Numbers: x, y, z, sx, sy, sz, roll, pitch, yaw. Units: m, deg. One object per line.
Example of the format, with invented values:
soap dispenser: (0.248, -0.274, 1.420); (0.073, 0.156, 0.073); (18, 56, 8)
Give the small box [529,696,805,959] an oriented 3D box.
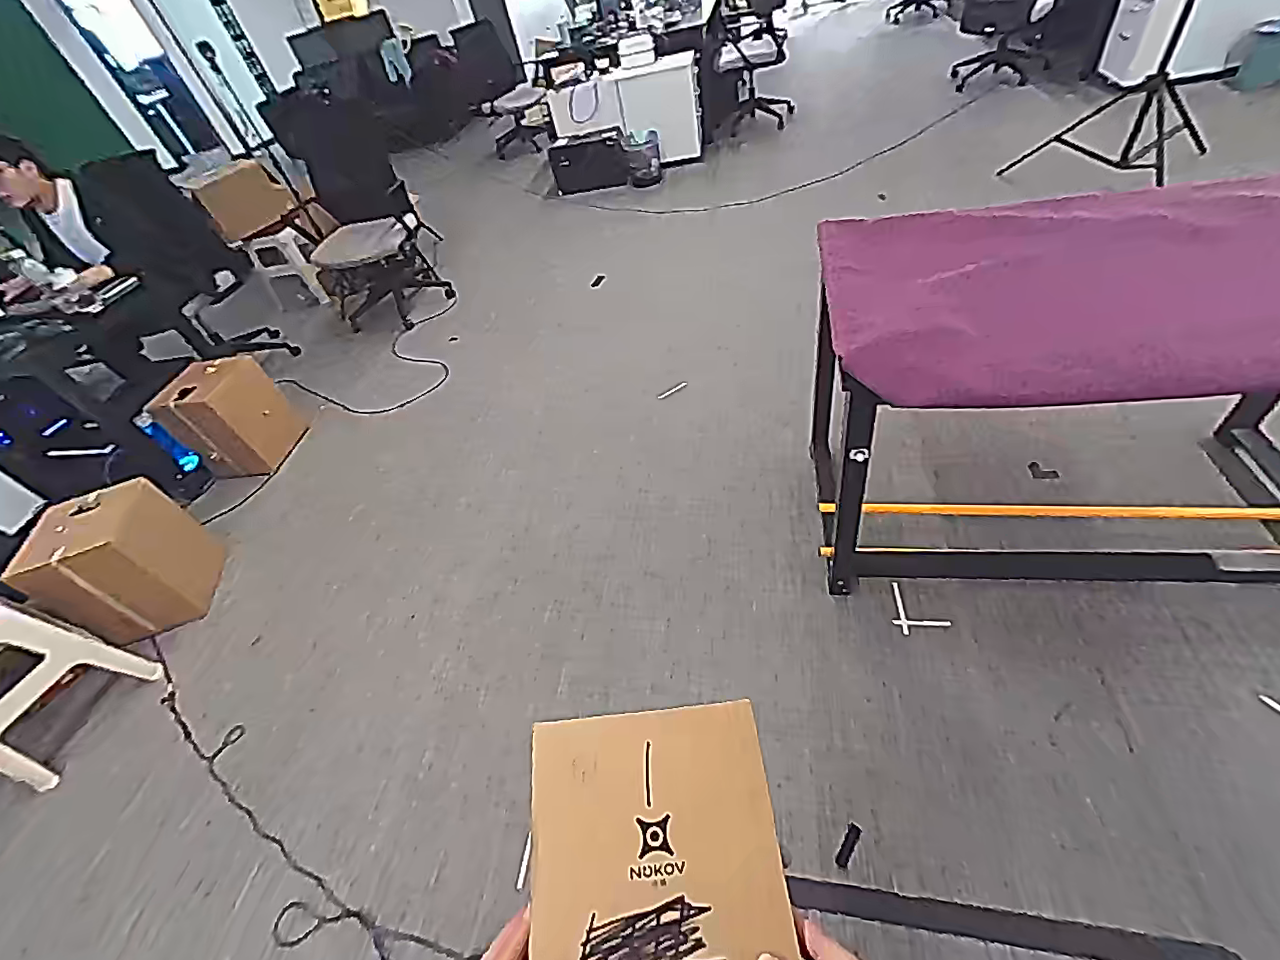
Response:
small box: (0.016, 0.280, 0.413); (0.168, 0.176, 0.179); (-6, 55, -1)
